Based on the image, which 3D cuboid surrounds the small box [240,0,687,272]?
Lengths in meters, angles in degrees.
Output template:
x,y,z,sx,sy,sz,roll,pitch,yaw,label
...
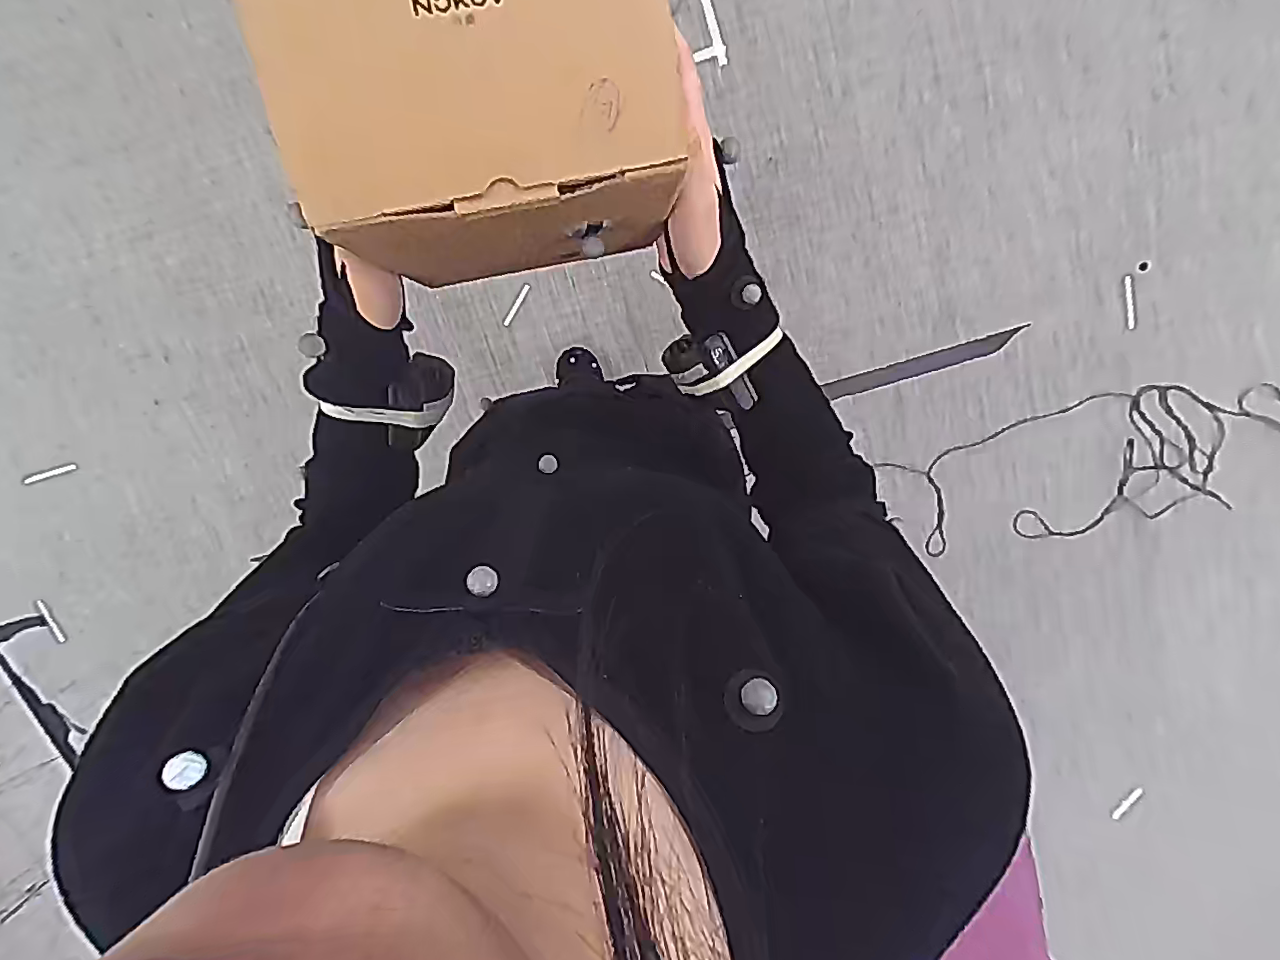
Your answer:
x,y,z,sx,sy,sz,roll,pitch,yaw,label
-0.081,-0.220,0.287,0.168,0.176,0.179,-12,102,-4,small box
